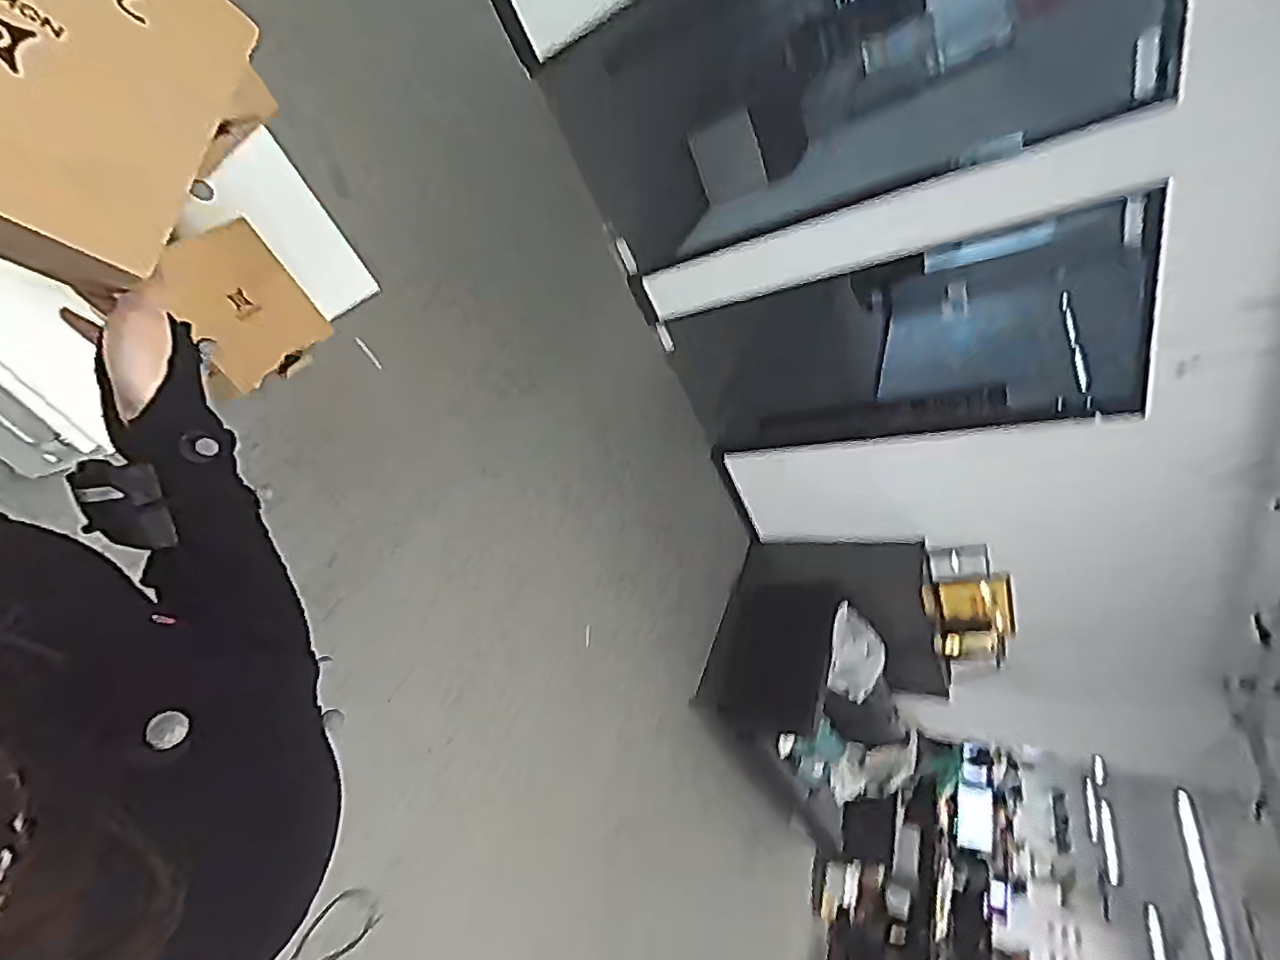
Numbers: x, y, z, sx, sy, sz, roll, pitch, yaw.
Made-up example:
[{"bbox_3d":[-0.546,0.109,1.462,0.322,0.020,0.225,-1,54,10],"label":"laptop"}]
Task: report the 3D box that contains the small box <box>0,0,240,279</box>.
[{"bbox_3d":[-0.371,-0.232,0.301,0.168,0.176,0.179,24,80,-53],"label":"small box"}]
